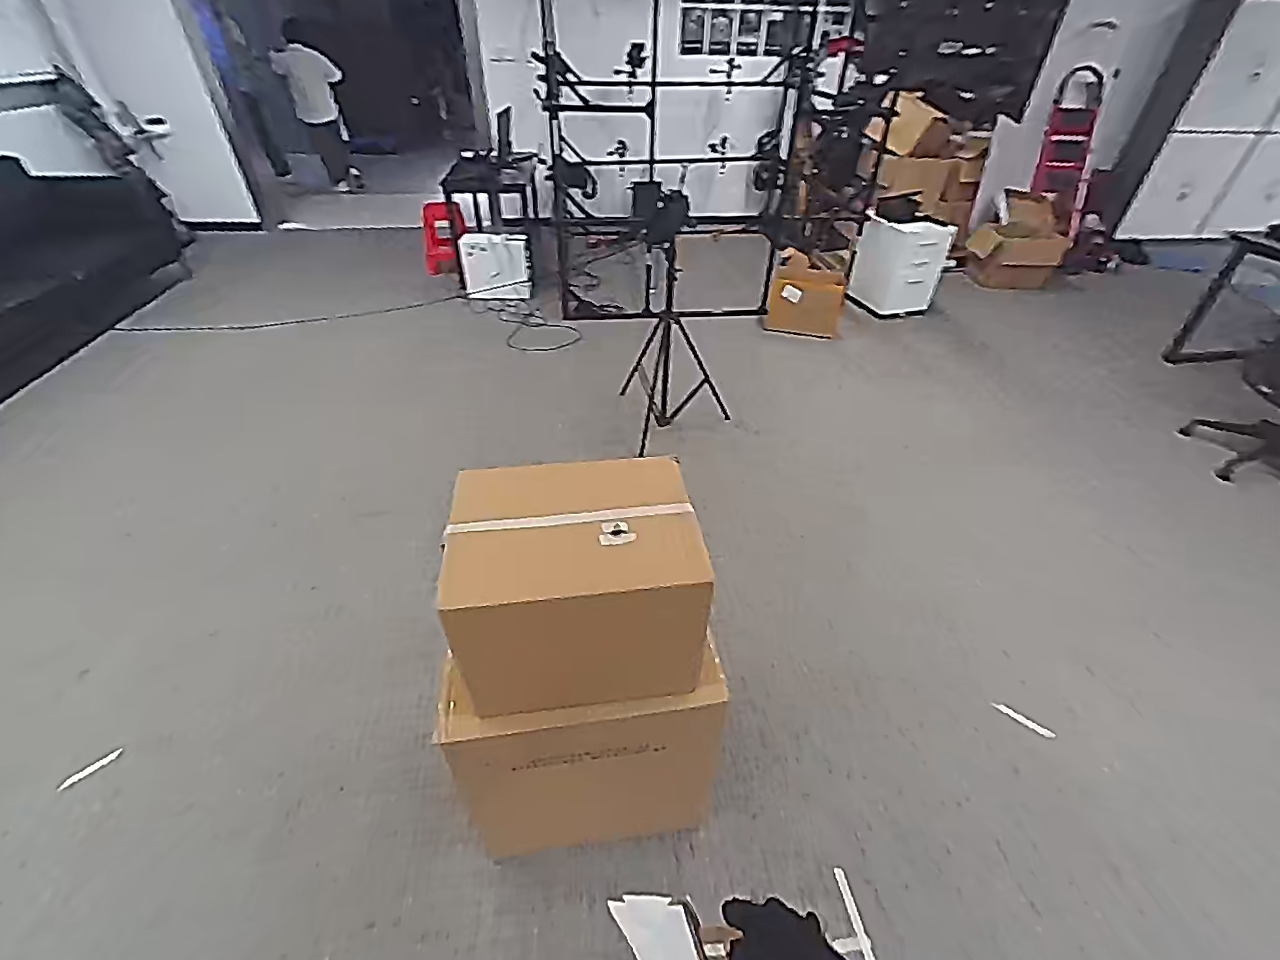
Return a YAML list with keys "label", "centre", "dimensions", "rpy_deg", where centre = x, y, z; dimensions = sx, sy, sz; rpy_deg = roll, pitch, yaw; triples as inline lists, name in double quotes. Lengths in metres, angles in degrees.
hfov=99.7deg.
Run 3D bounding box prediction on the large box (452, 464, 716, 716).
- label: "large box"
  centre: [-0.105, 0.196, 1.005]
  dimensions: [0.408, 0.320, 0.320]
  rpy_deg: [-4, 40, -8]
